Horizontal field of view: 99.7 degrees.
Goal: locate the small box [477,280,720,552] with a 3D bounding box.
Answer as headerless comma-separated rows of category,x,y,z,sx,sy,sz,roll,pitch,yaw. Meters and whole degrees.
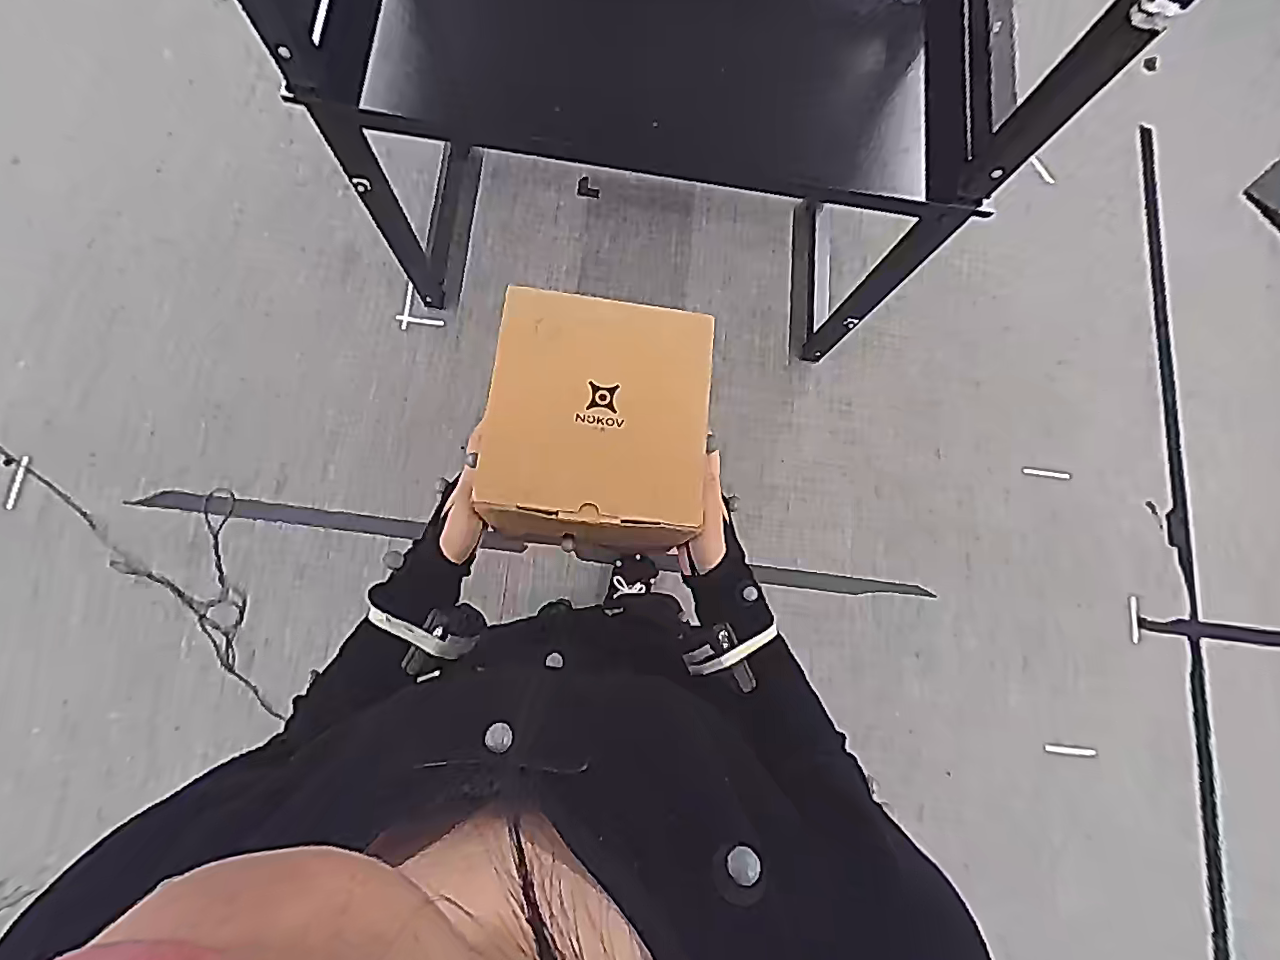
small box,-0.036,-0.040,0.473,0.168,0.176,0.179,7,76,-6
